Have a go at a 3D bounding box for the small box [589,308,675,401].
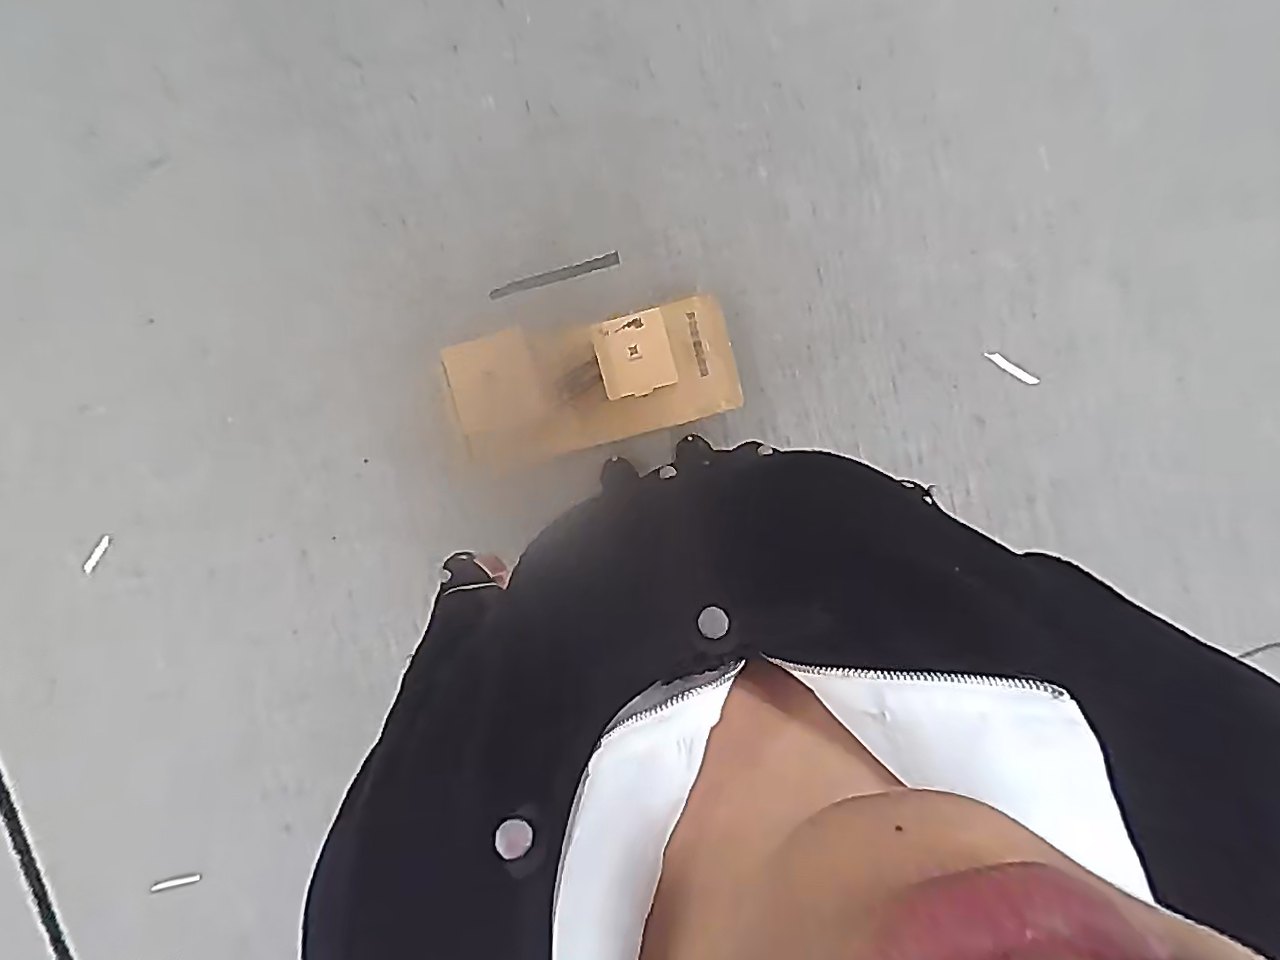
[{"bbox_3d":[-0.012,-0.292,1.292,0.168,0.176,0.179,-14,95,4],"label":"small box"}]
